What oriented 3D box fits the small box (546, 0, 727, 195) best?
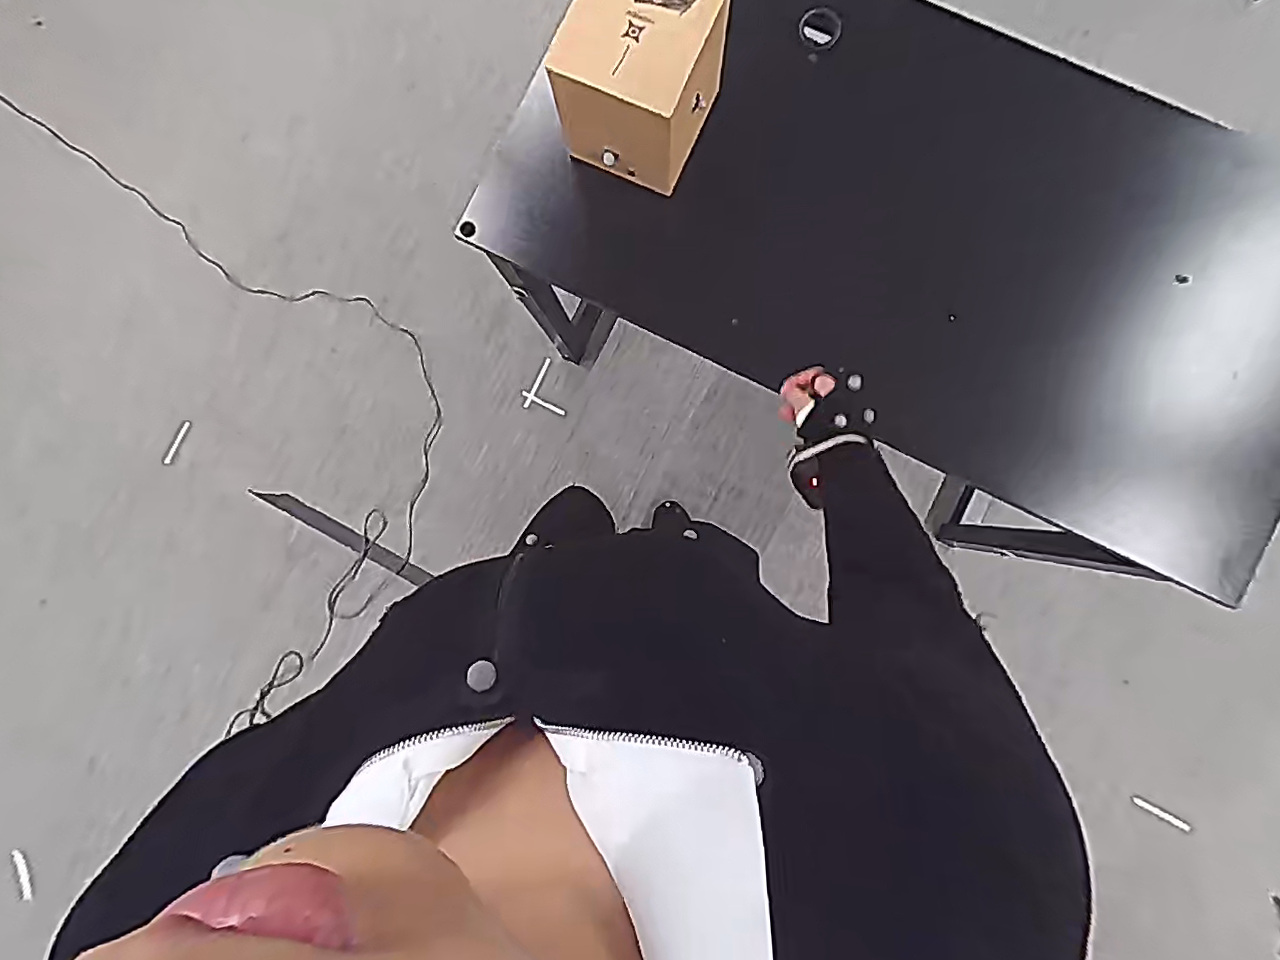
[{"bbox_3d":[-0.003,-0.527,0.718,0.168,0.176,0.179,25,90,3],"label":"small box"}]
